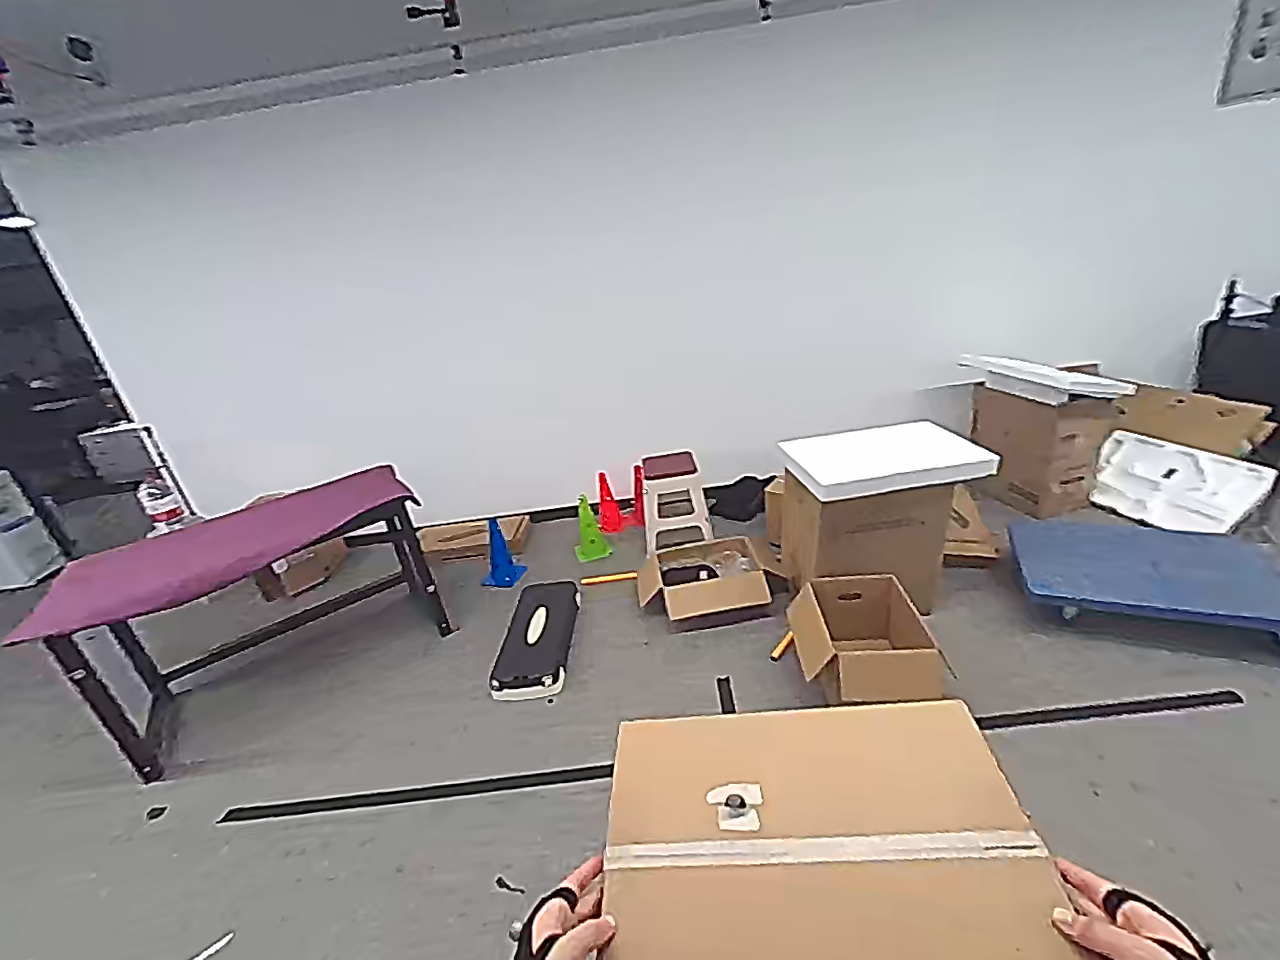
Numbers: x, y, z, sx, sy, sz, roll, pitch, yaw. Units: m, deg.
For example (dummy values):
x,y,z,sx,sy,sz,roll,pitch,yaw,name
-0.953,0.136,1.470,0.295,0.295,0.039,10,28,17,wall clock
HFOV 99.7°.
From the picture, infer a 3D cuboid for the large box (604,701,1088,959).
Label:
x,y,z,sx,sy,sz,roll,pitch,yaw,name
0.195,0.492,0.600,0.408,0.320,0.320,-9,29,8,large box
